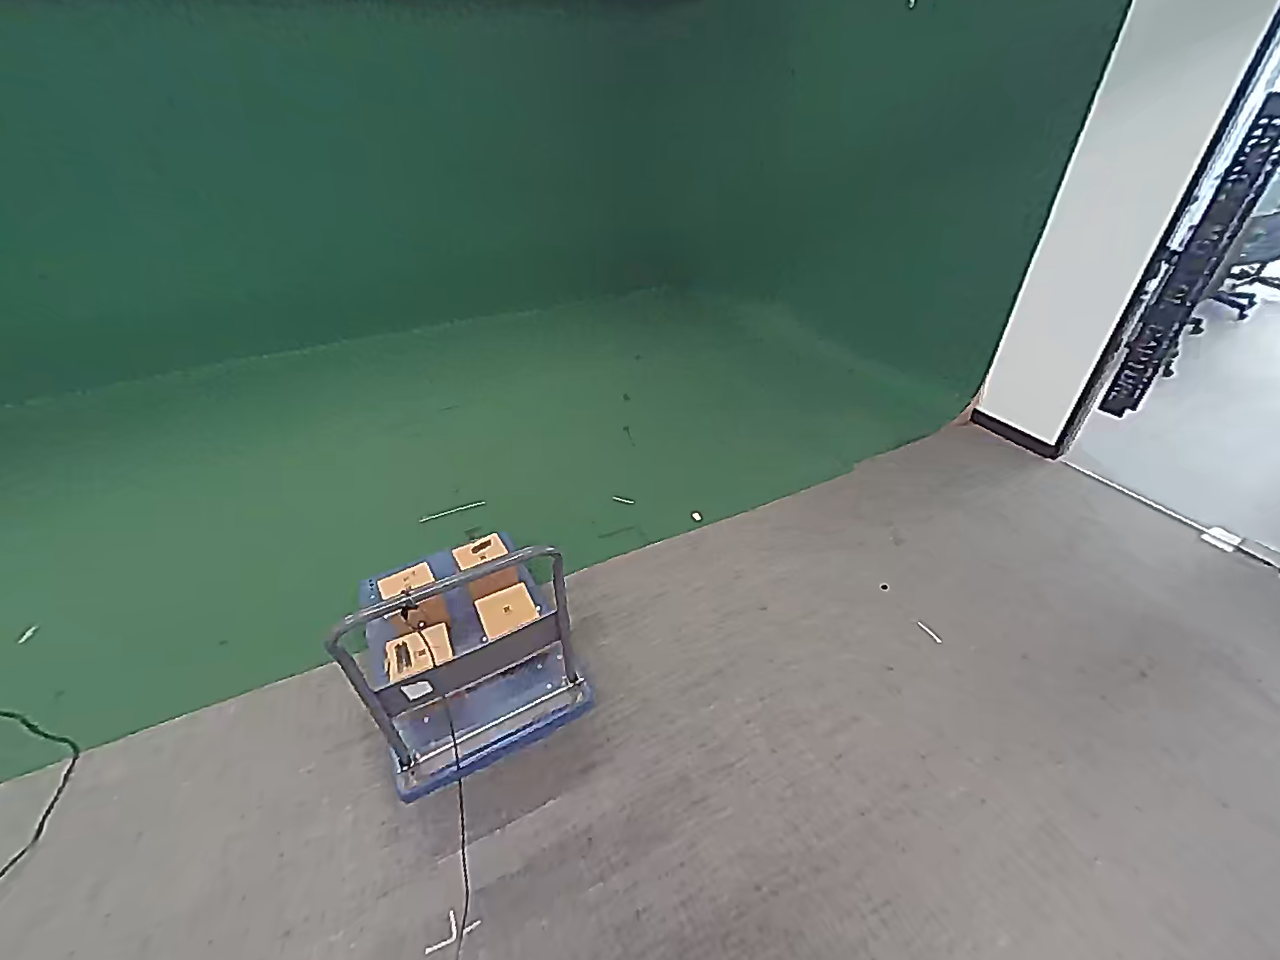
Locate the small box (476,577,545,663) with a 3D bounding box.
[{"bbox_3d":[-0.414,0.449,1.734,0.168,0.176,0.179,-18,42,-21],"label":"small box"}]

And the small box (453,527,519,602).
[{"bbox_3d":[-0.543,0.304,1.922,0.168,0.176,0.179,-23,44,-24],"label":"small box"}]

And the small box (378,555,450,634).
[{"bbox_3d":[-0.755,0.391,1.817,0.168,0.176,0.179,-22,42,-25],"label":"small box"}]
